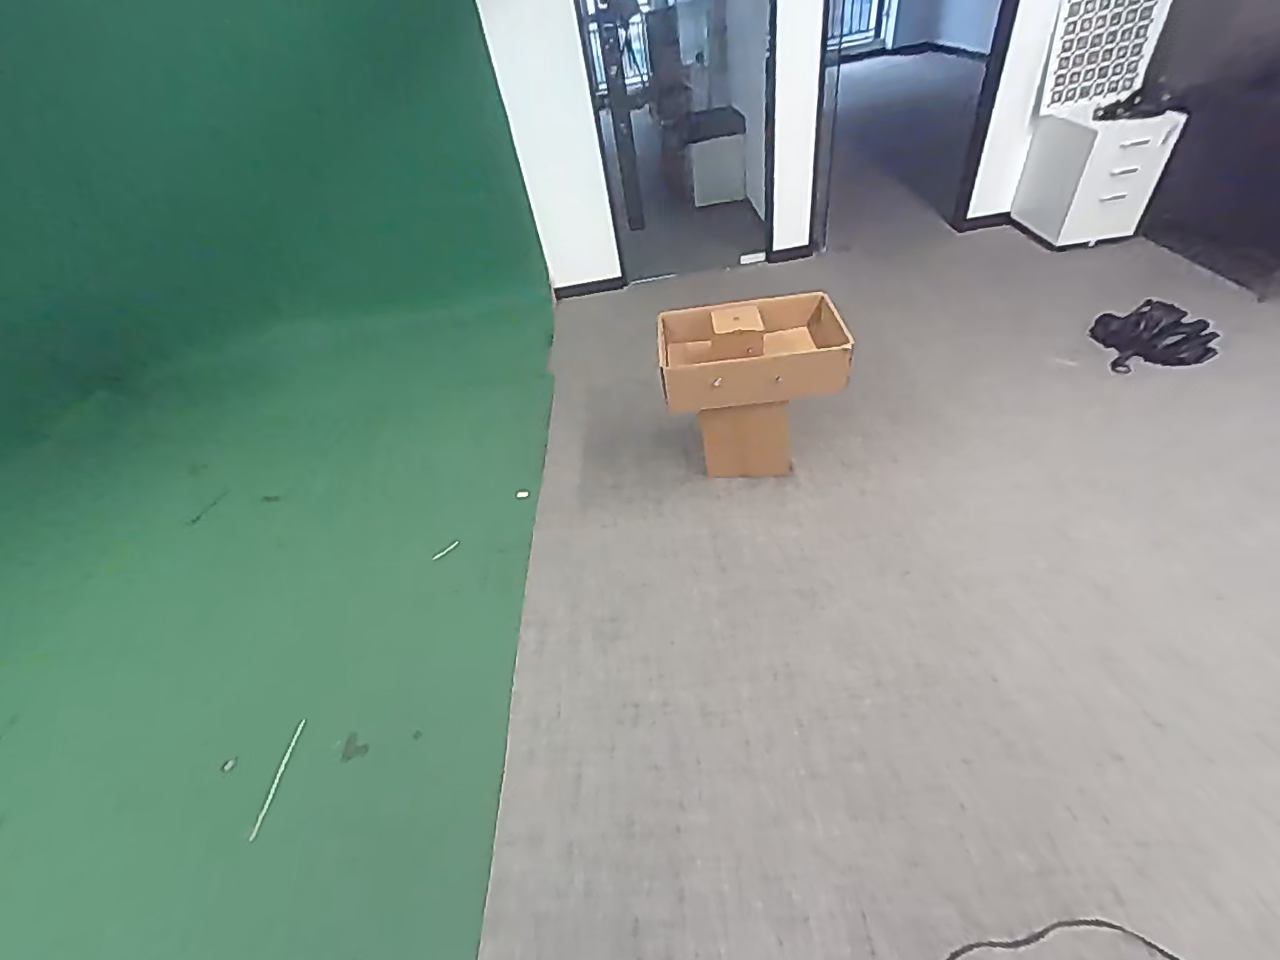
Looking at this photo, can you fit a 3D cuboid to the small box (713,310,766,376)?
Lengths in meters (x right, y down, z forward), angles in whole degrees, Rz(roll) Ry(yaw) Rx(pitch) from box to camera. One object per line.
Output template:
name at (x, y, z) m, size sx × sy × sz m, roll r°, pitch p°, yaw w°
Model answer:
small box at (0.351, -0.480, 1.913) m, size 0.168 × 0.176 × 0.179 m, roll -4°, pitch 41°, yaw 4°
